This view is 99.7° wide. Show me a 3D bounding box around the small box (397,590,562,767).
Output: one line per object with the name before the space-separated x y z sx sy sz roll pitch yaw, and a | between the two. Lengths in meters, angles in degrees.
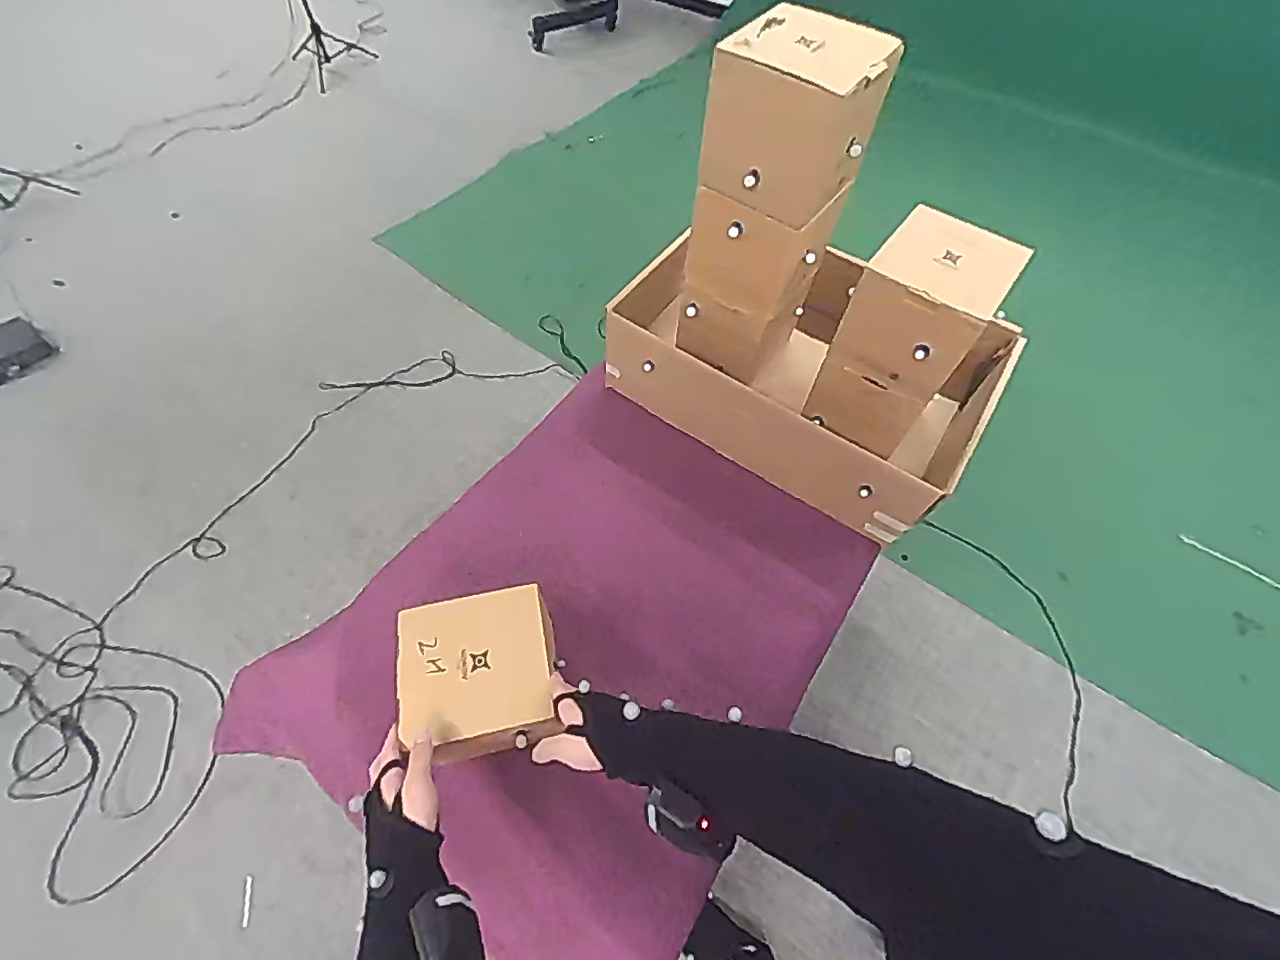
small box | -0.199 0.262 0.705 0.179 0.176 0.168 -10 59 -8

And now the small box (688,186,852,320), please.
small box | 0.197 -0.387 0.866 0.179 0.176 0.168 35 64 16

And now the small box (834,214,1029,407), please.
small box | 0.406 -0.239 0.785 0.168 0.176 0.179 35 65 17

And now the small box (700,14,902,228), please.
small box | 0.203 -0.471 0.725 0.179 0.176 0.168 35 64 16
